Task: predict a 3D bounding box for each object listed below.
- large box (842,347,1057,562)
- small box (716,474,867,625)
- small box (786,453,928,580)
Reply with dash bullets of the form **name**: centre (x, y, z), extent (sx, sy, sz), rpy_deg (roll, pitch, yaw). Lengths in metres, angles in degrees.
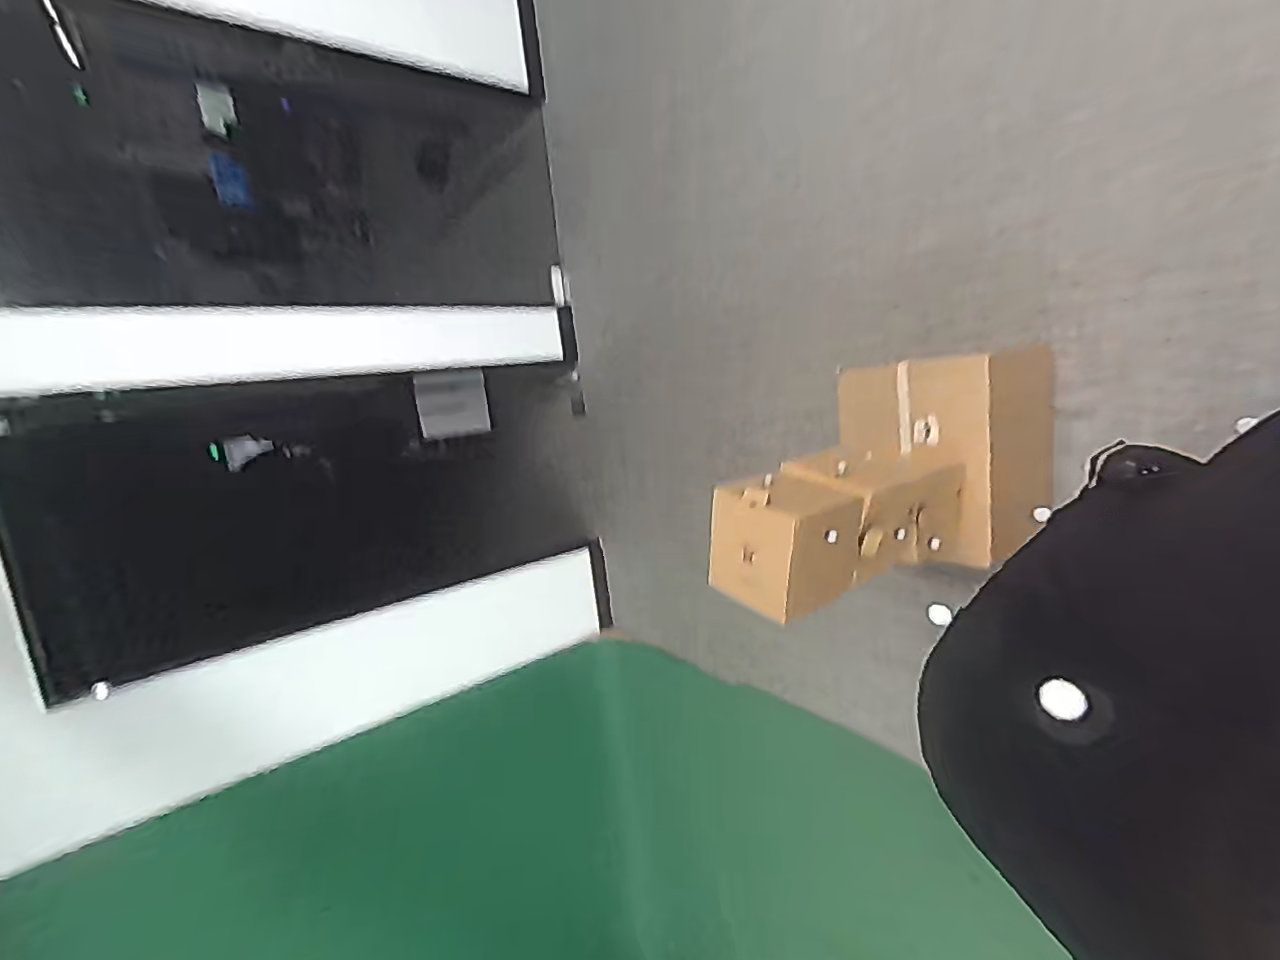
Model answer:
- **large box**: centre (0.684, -0.066, 1.199), extent (0.320, 0.320, 0.408), rpy_deg (4, 103, 54)
- **small box**: centre (0.243, 0.099, 0.874), extent (0.168, 0.176, 0.179), rpy_deg (22, 119, 51)
- **small box**: centre (0.373, 0.055, 0.962), extent (0.179, 0.176, 0.168), rpy_deg (26, 120, 49)
